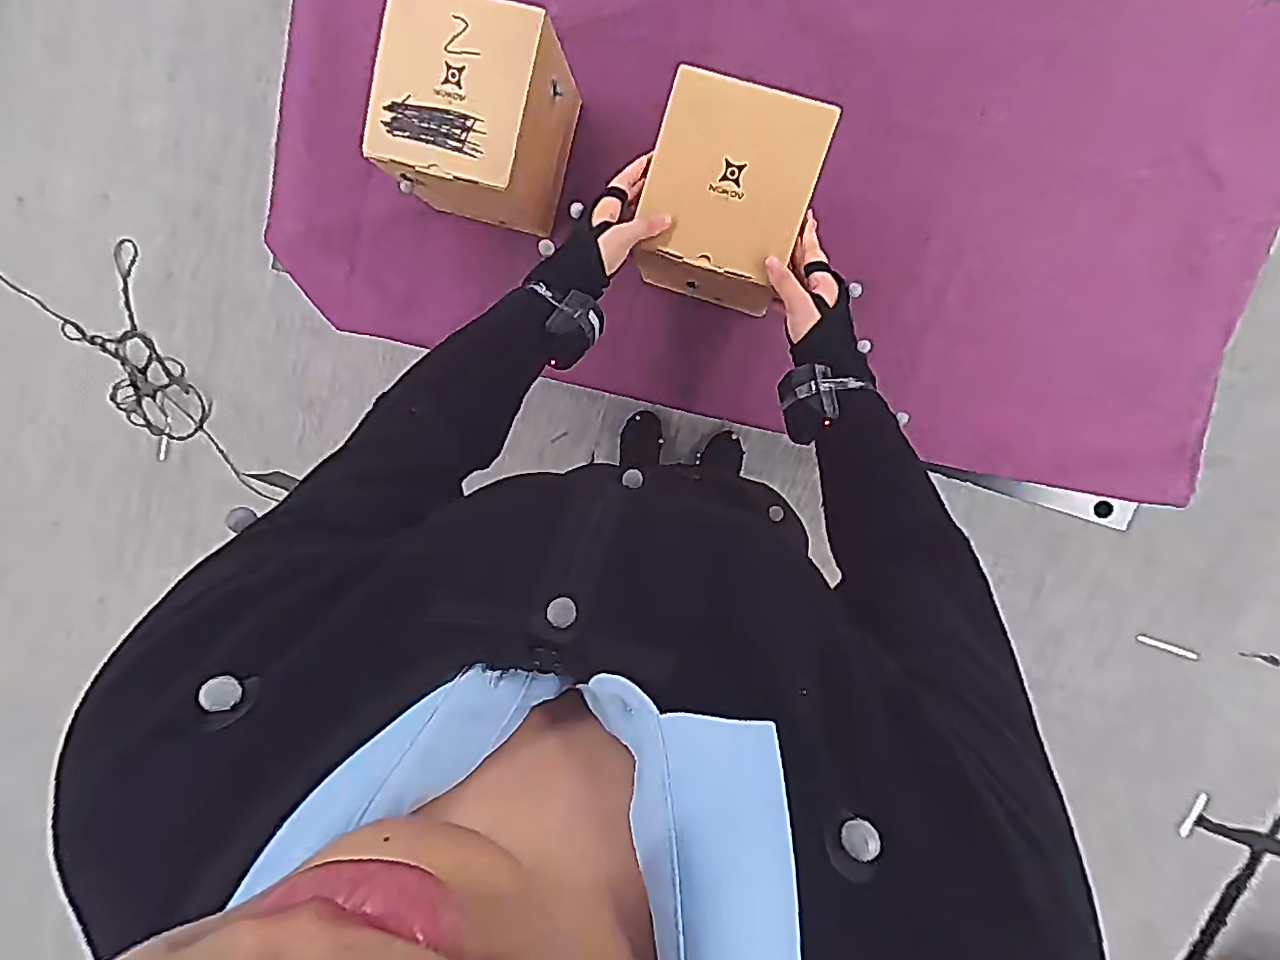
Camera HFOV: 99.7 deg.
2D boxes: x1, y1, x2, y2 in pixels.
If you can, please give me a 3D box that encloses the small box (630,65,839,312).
[{"bbox_3d":[0.098,-0.310,0.616,0.168,0.176,0.179,18,100,3],"label":"small box"}]
